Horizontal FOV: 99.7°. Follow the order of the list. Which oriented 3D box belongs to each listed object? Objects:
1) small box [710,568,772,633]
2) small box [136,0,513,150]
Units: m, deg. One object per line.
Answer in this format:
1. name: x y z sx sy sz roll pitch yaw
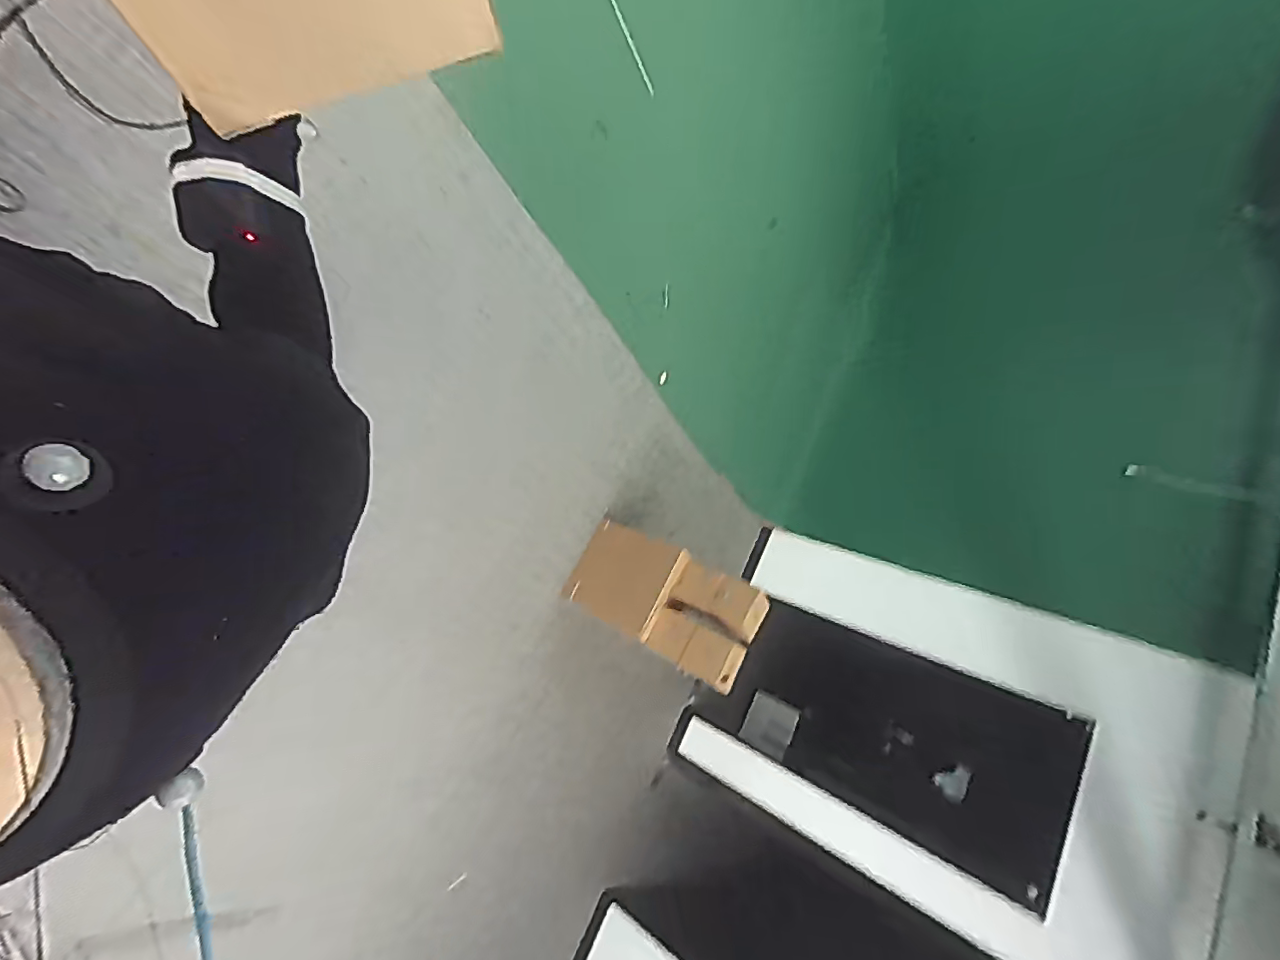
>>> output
1. small box: 0.403 0.477 2.159 0.168 0.176 0.179 -55 141 -22
2. small box: -0.182 -0.316 0.273 0.168 0.179 0.176 -18 150 -3
